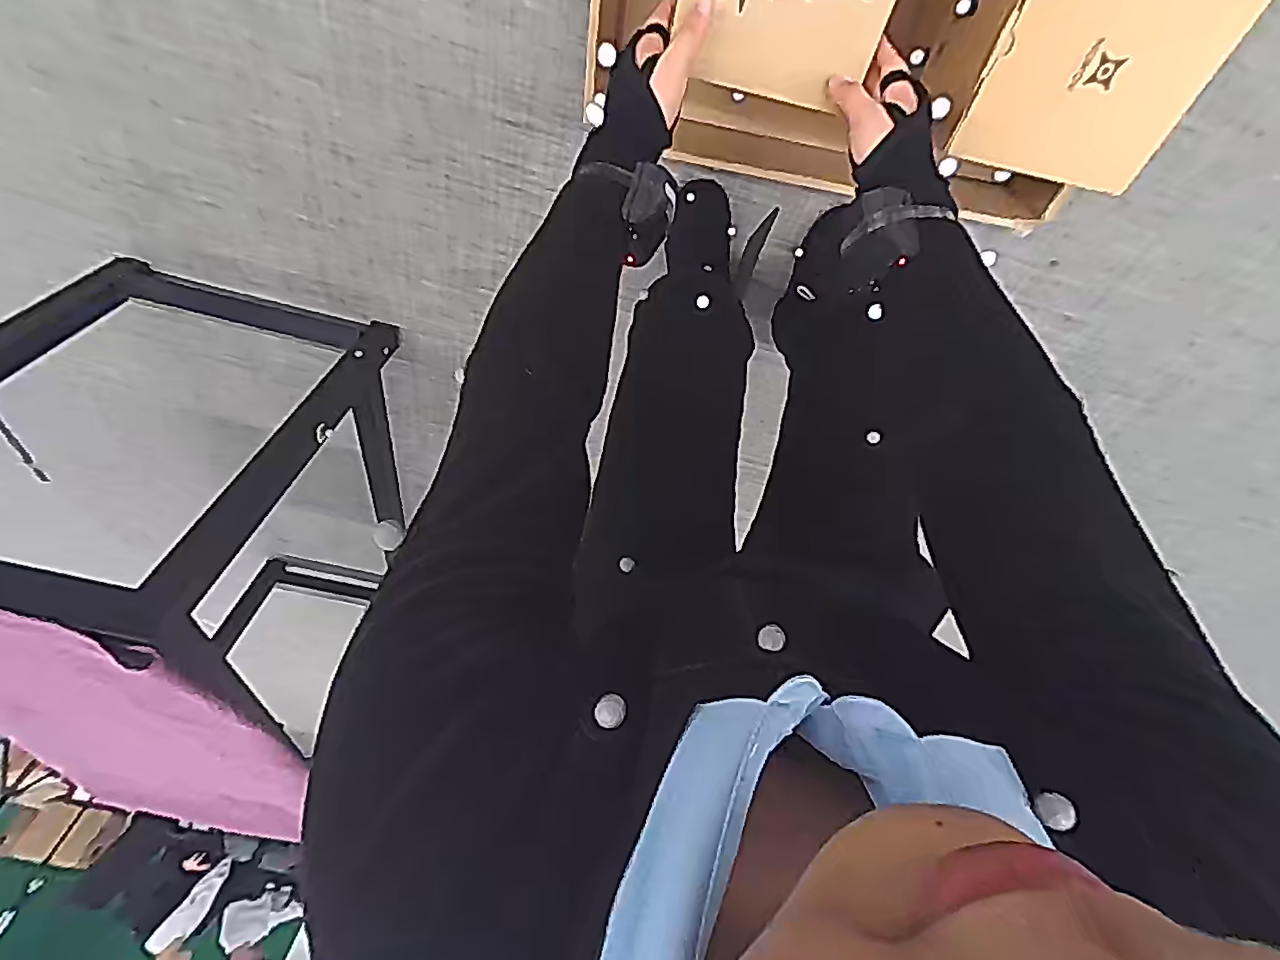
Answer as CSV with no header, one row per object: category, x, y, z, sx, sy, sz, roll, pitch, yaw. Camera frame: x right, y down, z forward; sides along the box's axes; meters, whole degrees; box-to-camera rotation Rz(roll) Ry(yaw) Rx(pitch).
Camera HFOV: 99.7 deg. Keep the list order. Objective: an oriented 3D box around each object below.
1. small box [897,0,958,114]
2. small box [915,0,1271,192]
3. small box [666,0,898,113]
small box,0.417,-0.517,0.613,0.168,0.176,0.179,12,135,-3
small box,0.393,-0.400,0.503,0.179,0.176,0.168,13,137,-1
small box,0.130,-0.457,0.479,0.179,0.176,0.168,11,136,-4
